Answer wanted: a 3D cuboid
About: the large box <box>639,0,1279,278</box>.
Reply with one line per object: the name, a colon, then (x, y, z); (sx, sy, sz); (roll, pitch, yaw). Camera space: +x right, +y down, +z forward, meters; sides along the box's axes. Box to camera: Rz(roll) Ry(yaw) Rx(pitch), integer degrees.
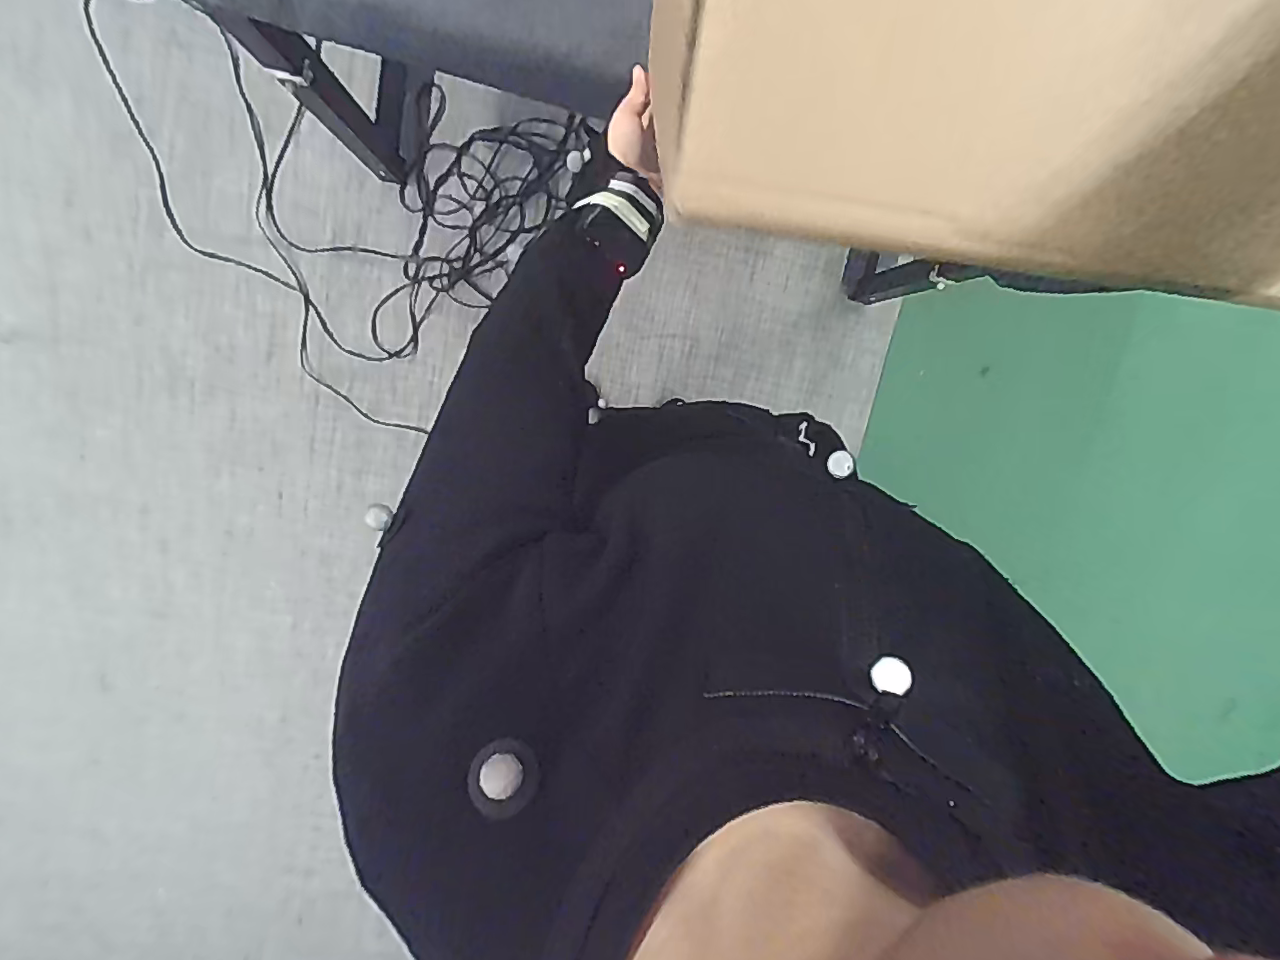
large box: (0.174, -0.343, 0.271); (0.320, 0.408, 0.320); (3, 133, -6)
